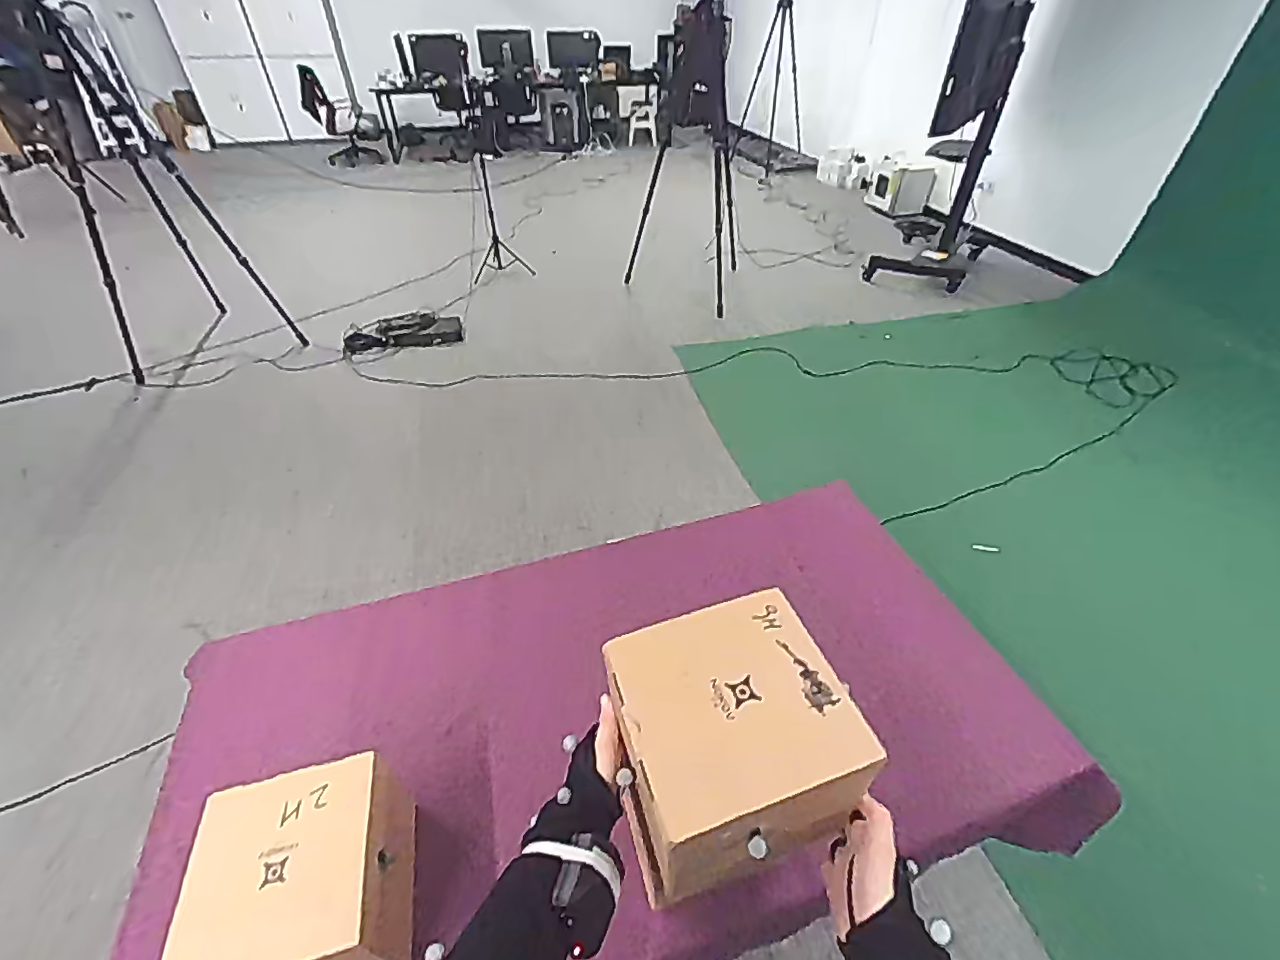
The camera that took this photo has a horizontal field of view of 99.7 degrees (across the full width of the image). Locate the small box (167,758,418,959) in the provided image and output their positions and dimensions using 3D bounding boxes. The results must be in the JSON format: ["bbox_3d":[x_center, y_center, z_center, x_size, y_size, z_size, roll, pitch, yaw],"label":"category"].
[{"bbox_3d":[-0.344,0.435,0.573,0.168,0.176,0.179,-11,42,-11],"label":"small box"}]

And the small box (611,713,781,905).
[{"bbox_3d":[0.073,0.368,0.643,0.179,0.176,0.168,-12,43,-12],"label":"small box"}]

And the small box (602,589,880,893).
[{"bbox_3d":[0.078,0.234,0.487,0.179,0.176,0.168,-15,43,-11],"label":"small box"}]
